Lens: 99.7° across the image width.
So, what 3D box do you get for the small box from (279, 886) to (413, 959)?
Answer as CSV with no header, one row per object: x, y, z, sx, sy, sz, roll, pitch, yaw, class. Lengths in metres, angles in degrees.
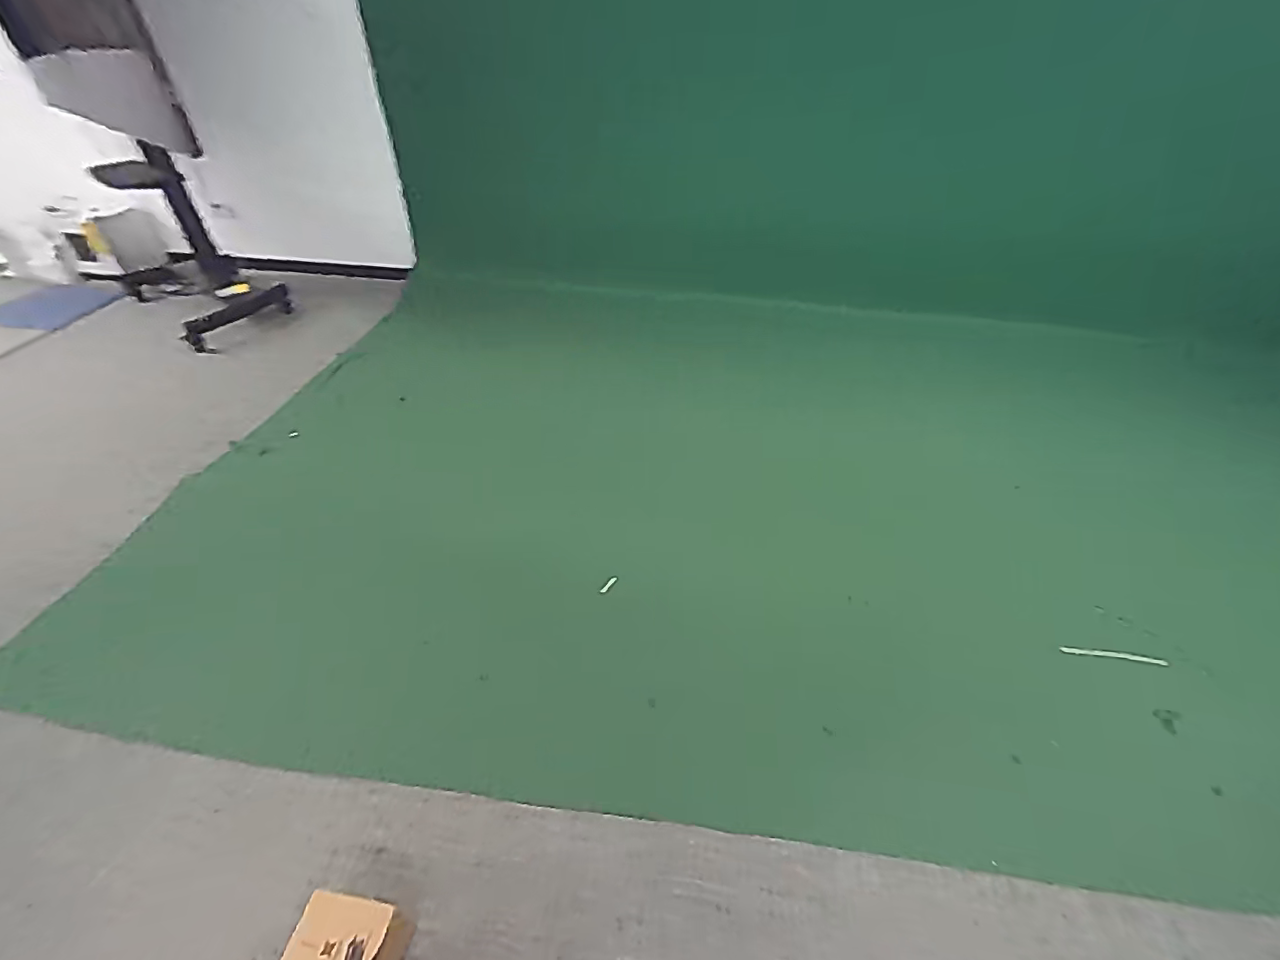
-0.575,0.930,1.060,0.179,0.176,0.168,7,42,6,small box
